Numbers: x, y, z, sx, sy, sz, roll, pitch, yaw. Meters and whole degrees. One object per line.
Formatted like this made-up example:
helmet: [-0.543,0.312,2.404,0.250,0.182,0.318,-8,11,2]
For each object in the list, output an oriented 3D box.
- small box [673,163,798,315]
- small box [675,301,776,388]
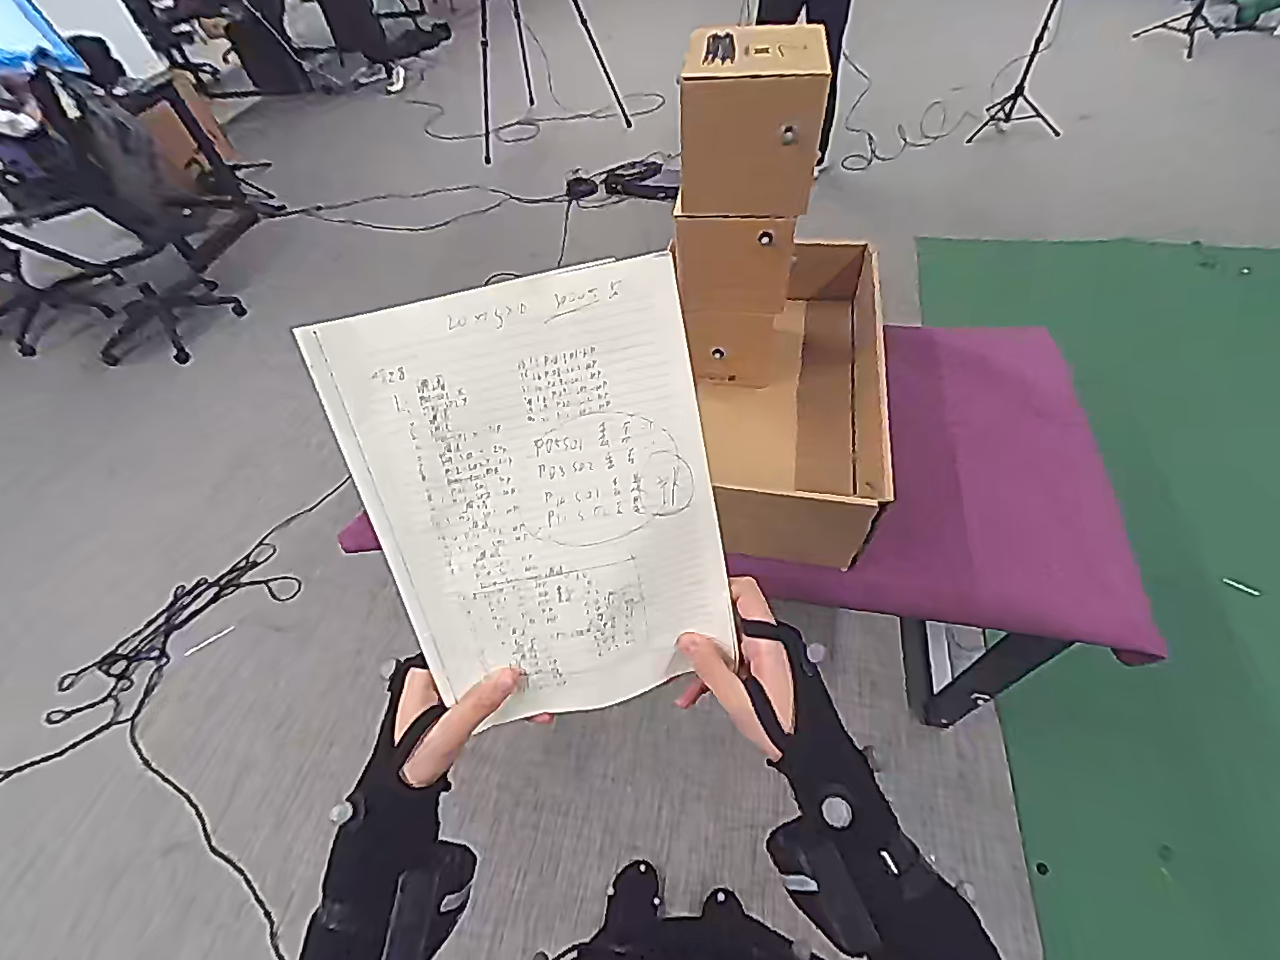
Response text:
small box: [0.154,-0.383,0.870,0.179,0.176,0.168,5,55,10]
small box: [0.165,-0.291,1.003,0.168,0.176,0.179,7,56,12]
